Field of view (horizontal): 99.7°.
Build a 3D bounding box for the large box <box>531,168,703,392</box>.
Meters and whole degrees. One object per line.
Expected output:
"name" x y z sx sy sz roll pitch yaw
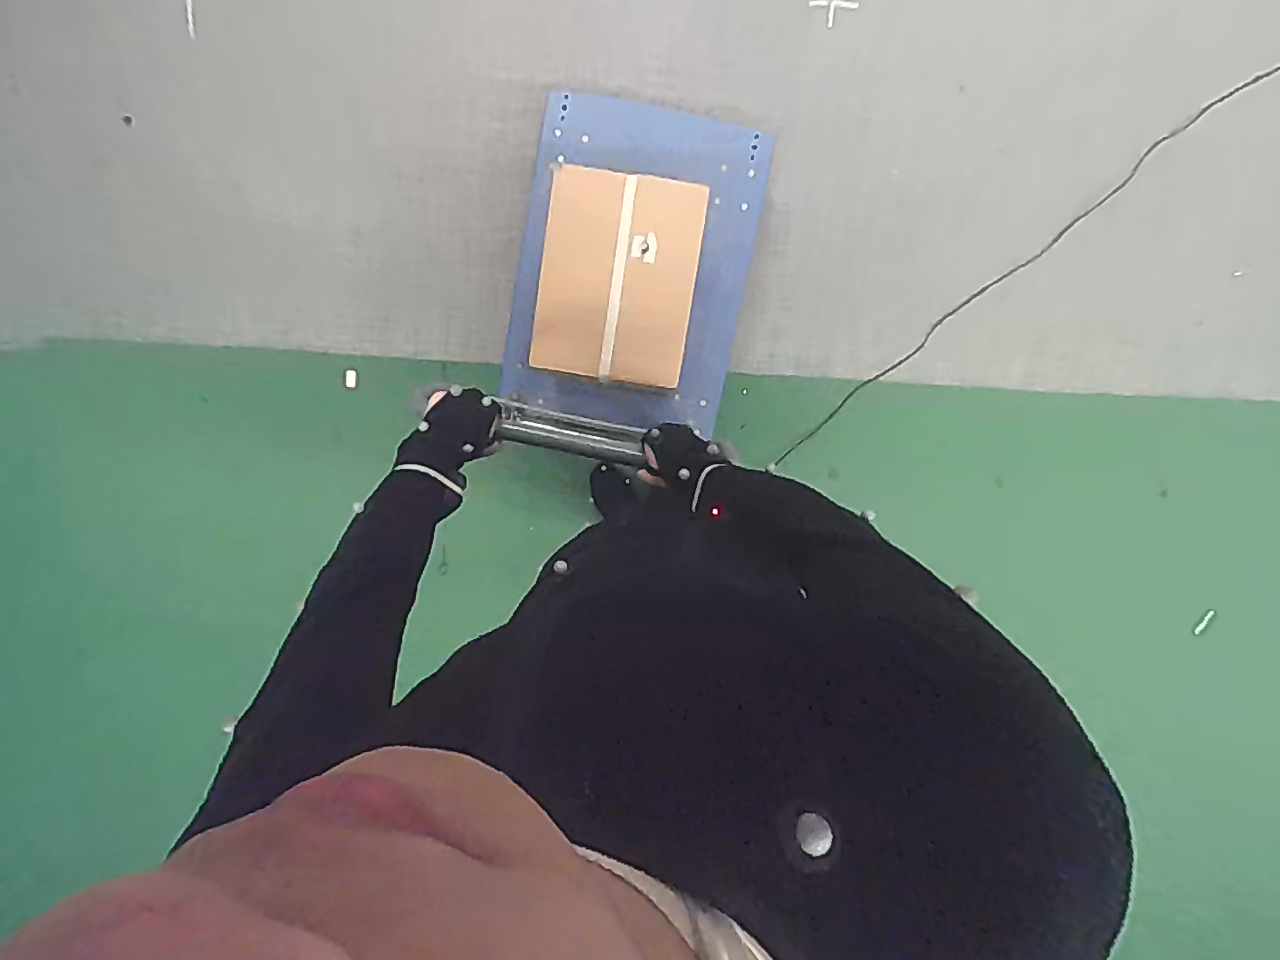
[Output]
"large box" -0.048 -0.427 1.254 0.320 0.320 0.408 9 97 -1
